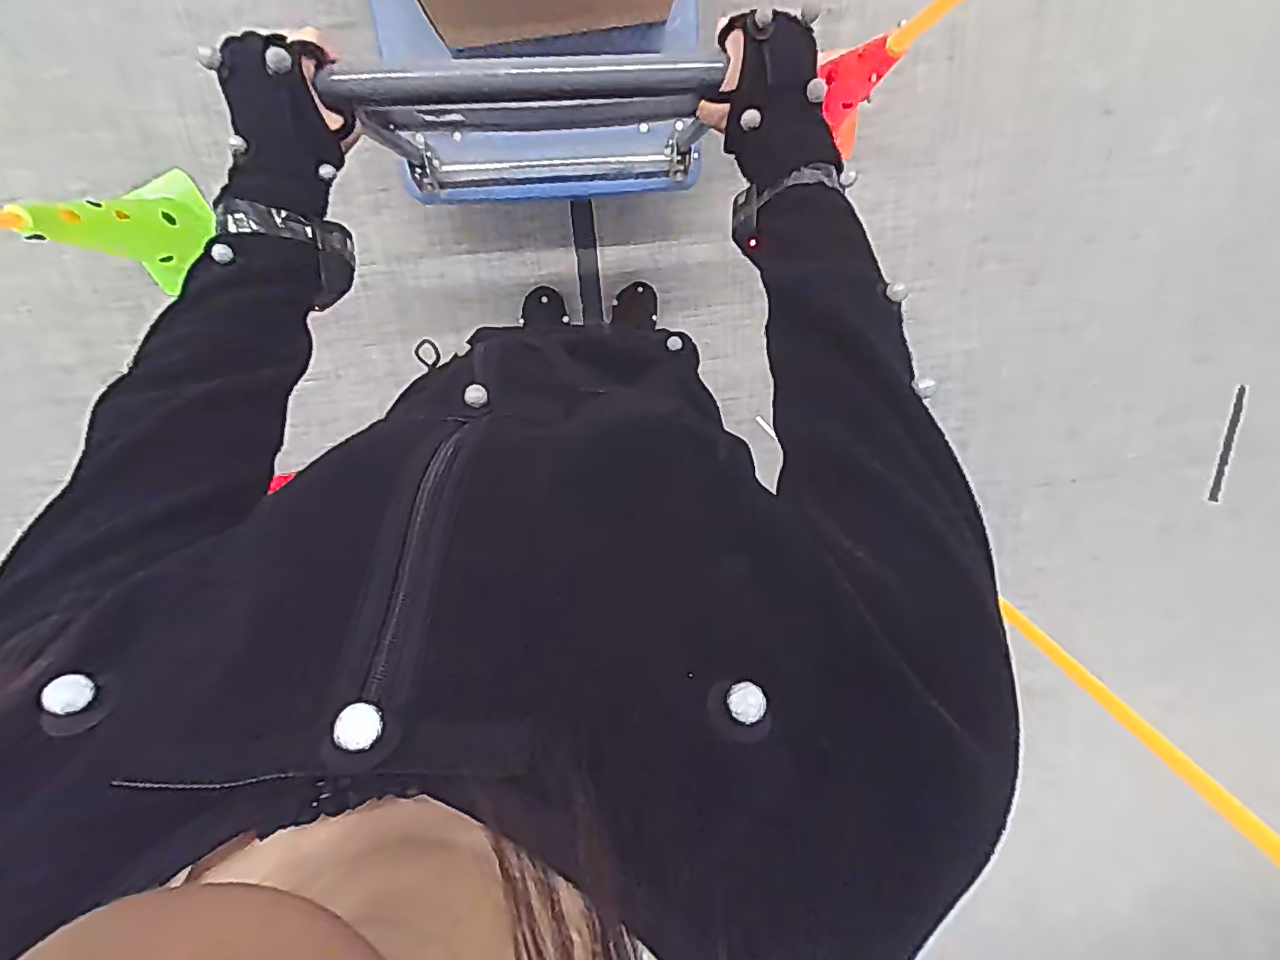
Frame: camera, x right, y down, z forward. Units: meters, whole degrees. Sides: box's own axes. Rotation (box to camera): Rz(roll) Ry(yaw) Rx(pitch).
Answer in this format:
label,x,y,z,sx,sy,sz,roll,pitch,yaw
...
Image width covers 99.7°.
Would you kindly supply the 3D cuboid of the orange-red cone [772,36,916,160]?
label,x,y,z,sx,sy,sz,roll,pitch,yaw
orange-red cone,0.418,-0.769,1.046,0.199,0.360,0.198,-1,111,-6
